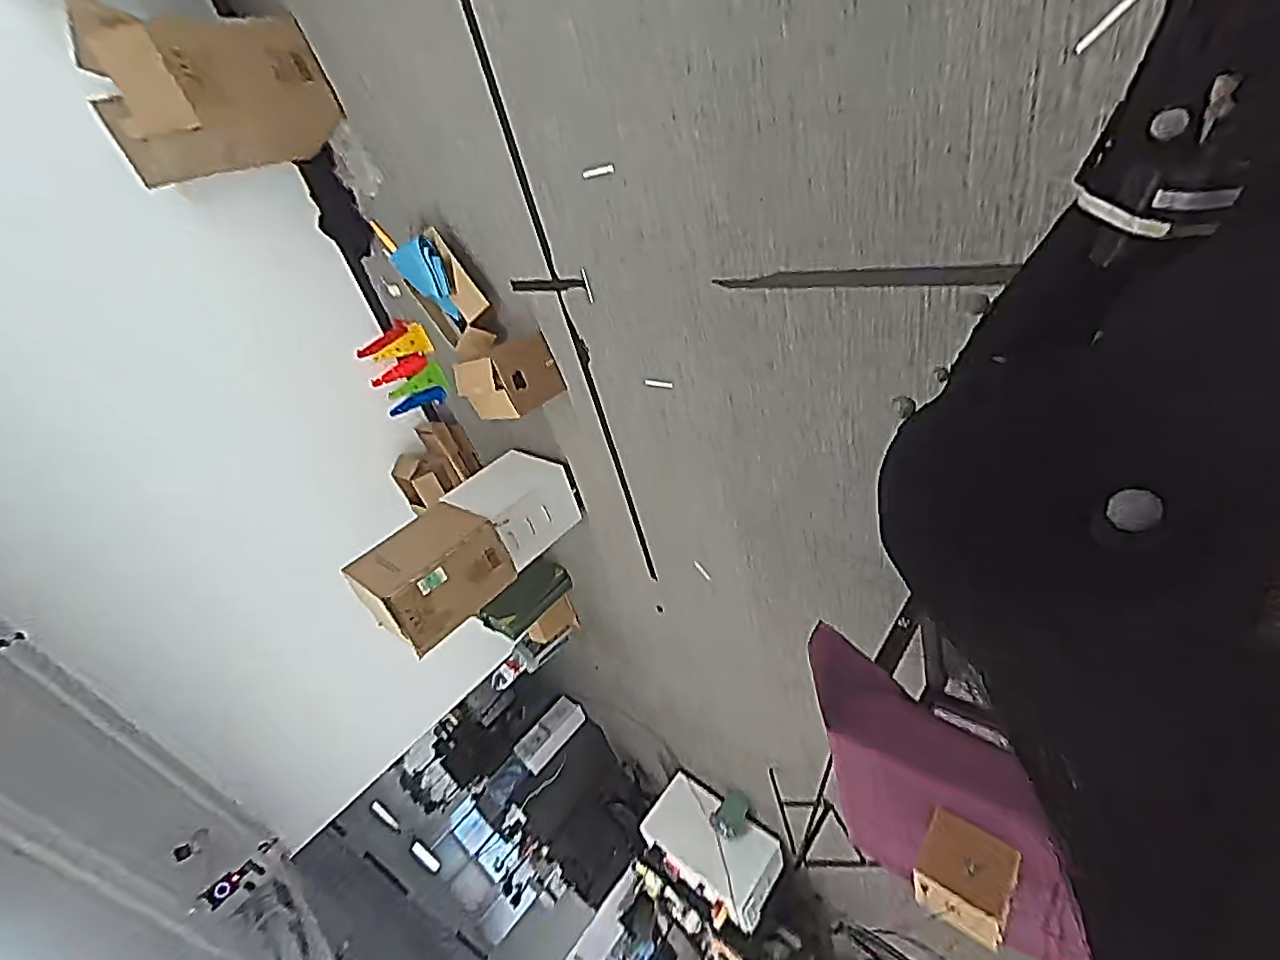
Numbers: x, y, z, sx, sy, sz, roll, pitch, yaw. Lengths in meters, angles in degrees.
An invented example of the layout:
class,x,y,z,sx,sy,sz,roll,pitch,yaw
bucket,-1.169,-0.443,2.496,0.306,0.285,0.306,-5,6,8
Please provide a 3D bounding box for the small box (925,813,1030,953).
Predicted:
class,x,y,z,sx,sy,sz,roll,pitch,yaw
small box,0.786,0.928,1.259,0.179,0.176,0.168,12,132,43
